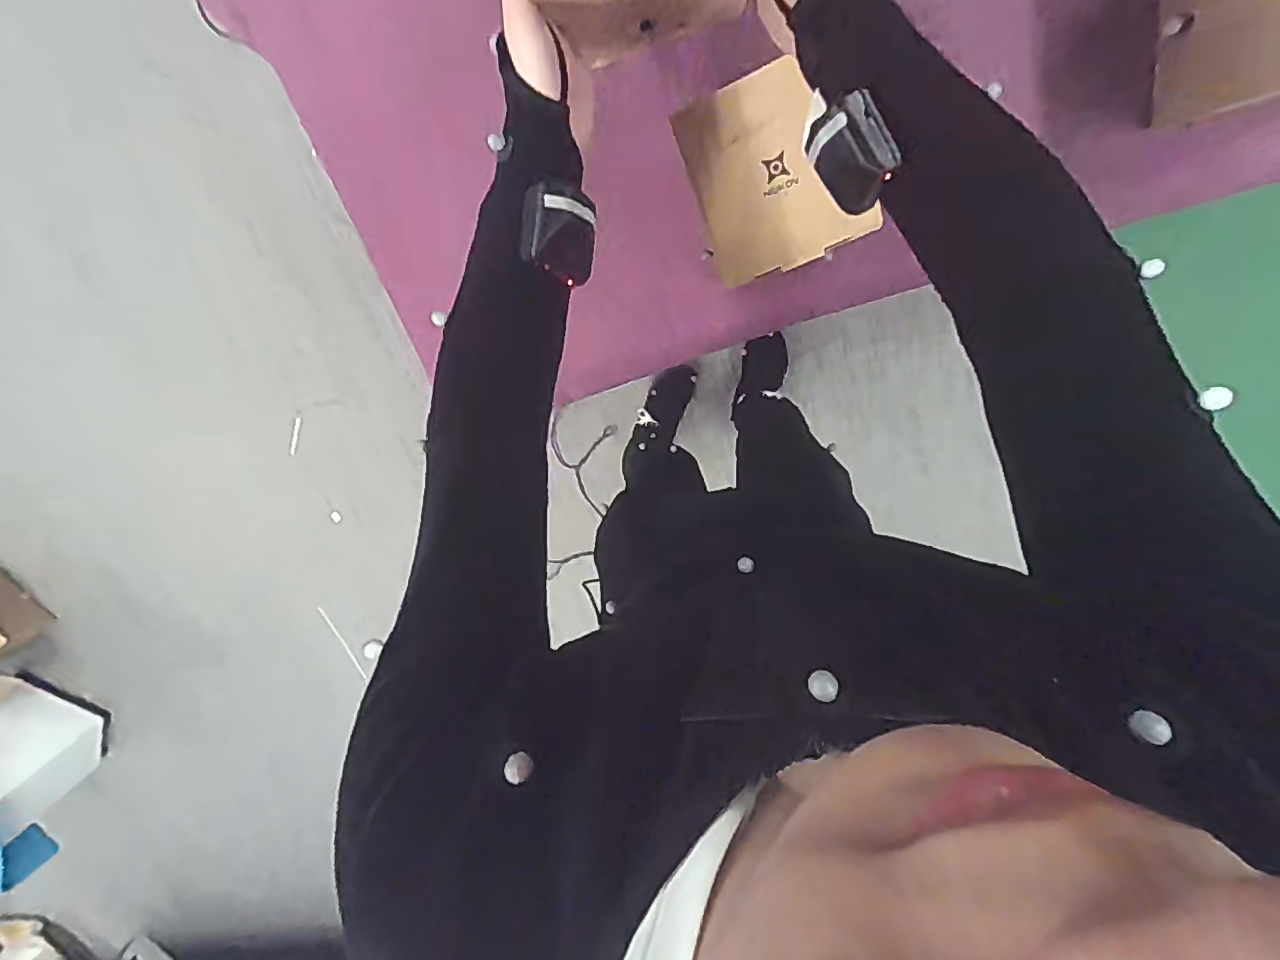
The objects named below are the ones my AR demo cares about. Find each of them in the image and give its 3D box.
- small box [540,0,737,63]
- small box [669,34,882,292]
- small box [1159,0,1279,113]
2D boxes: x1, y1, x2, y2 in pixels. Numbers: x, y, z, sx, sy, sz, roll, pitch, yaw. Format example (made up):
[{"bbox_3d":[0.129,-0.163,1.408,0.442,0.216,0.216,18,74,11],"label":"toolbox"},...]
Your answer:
[{"bbox_3d":[-0.011,-0.488,0.443,0.168,0.176,0.179,-11,115,13],"label":"small box"},{"bbox_3d":[0.145,-0.328,0.596,0.168,0.176,0.179,-18,108,16],"label":"small box"},{"bbox_3d":[0.603,-0.444,0.466,0.168,0.176,0.179,-10,111,14],"label":"small box"}]
